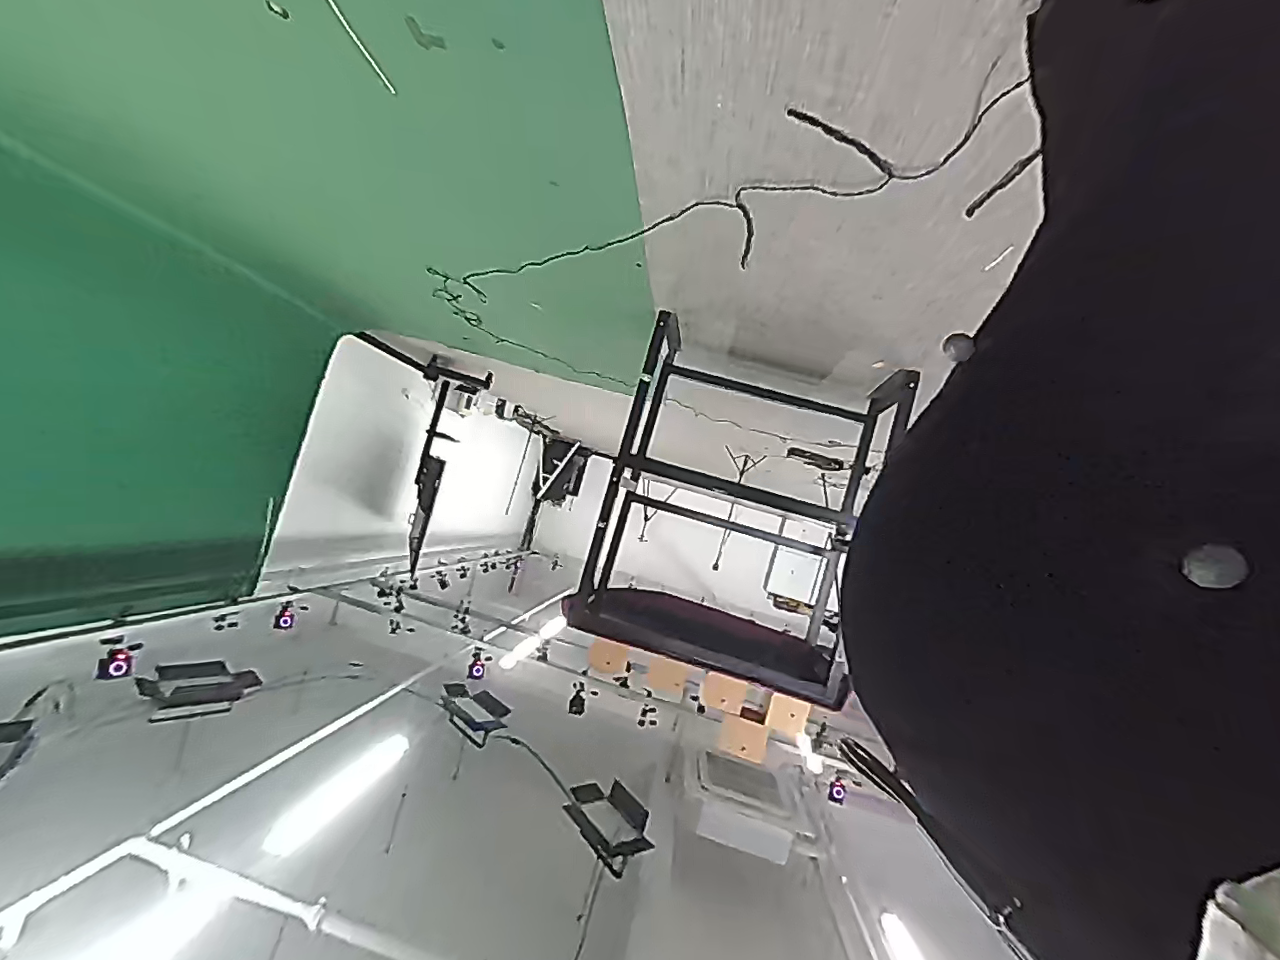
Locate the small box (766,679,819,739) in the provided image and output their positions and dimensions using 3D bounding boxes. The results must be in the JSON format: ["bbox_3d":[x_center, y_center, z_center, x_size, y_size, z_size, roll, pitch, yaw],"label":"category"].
[{"bbox_3d":[0.664,0.990,2.356,0.168,0.176,0.179,16,179,4],"label":"small box"}]

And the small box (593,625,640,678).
[{"bbox_3d":[-0.100,0.775,2.457,0.179,0.176,0.168,15,177,3],"label":"small box"}]

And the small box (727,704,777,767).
[{"bbox_3d":[0.487,1.109,2.363,0.179,0.176,0.168,17,178,9],"label":"small box"}]
